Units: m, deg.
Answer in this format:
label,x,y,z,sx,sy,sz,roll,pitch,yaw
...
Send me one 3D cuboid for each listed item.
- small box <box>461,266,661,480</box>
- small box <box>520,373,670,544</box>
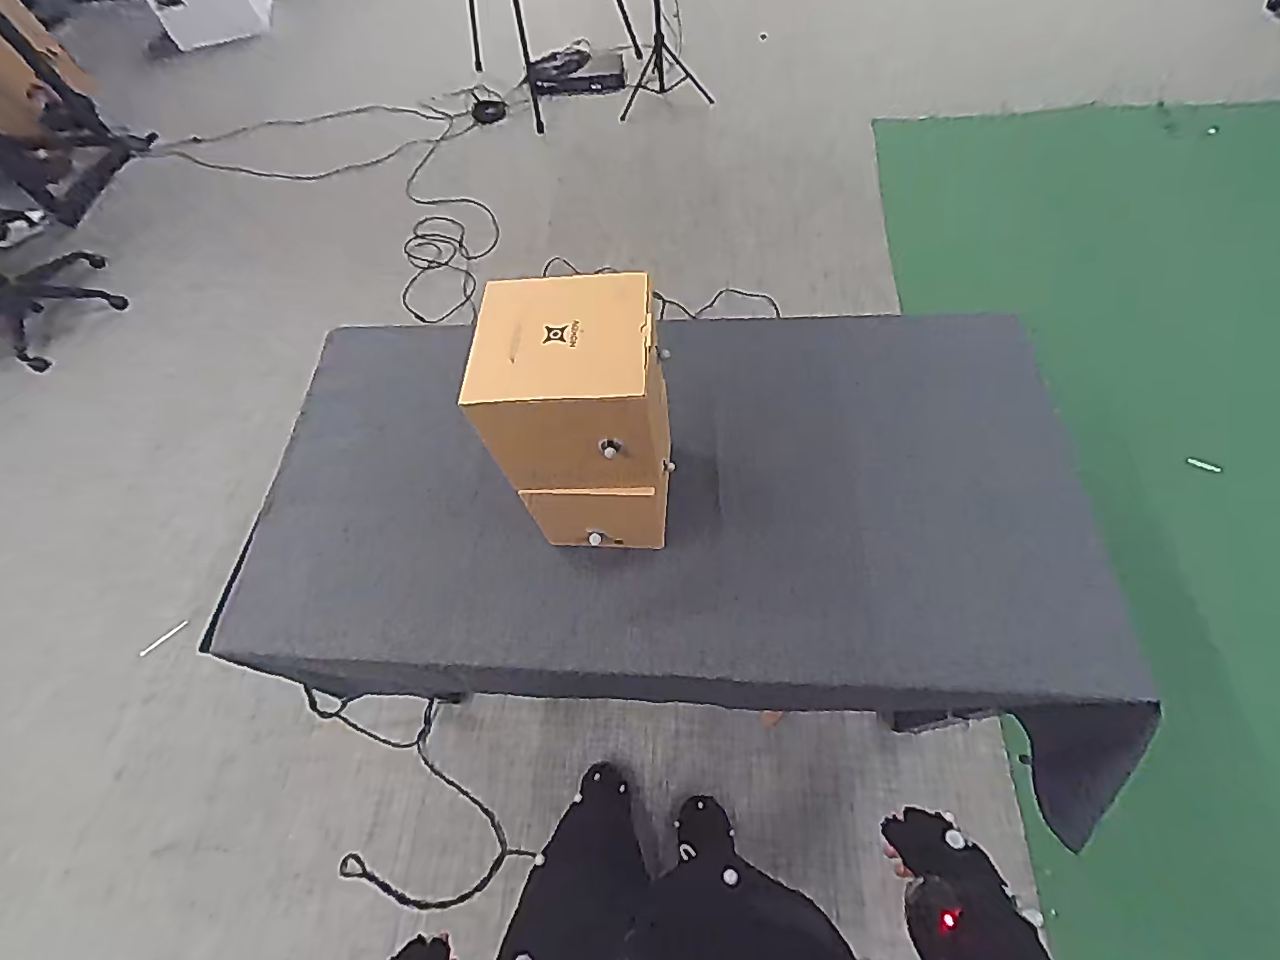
label,x,y,z,sx,sy,sz,roll,pitch,yaw
small box,-0.069,-0.109,0.597,0.179,0.176,0.168,-1,60,6
small box,-0.048,-0.028,0.737,0.168,0.176,0.179,1,62,8
